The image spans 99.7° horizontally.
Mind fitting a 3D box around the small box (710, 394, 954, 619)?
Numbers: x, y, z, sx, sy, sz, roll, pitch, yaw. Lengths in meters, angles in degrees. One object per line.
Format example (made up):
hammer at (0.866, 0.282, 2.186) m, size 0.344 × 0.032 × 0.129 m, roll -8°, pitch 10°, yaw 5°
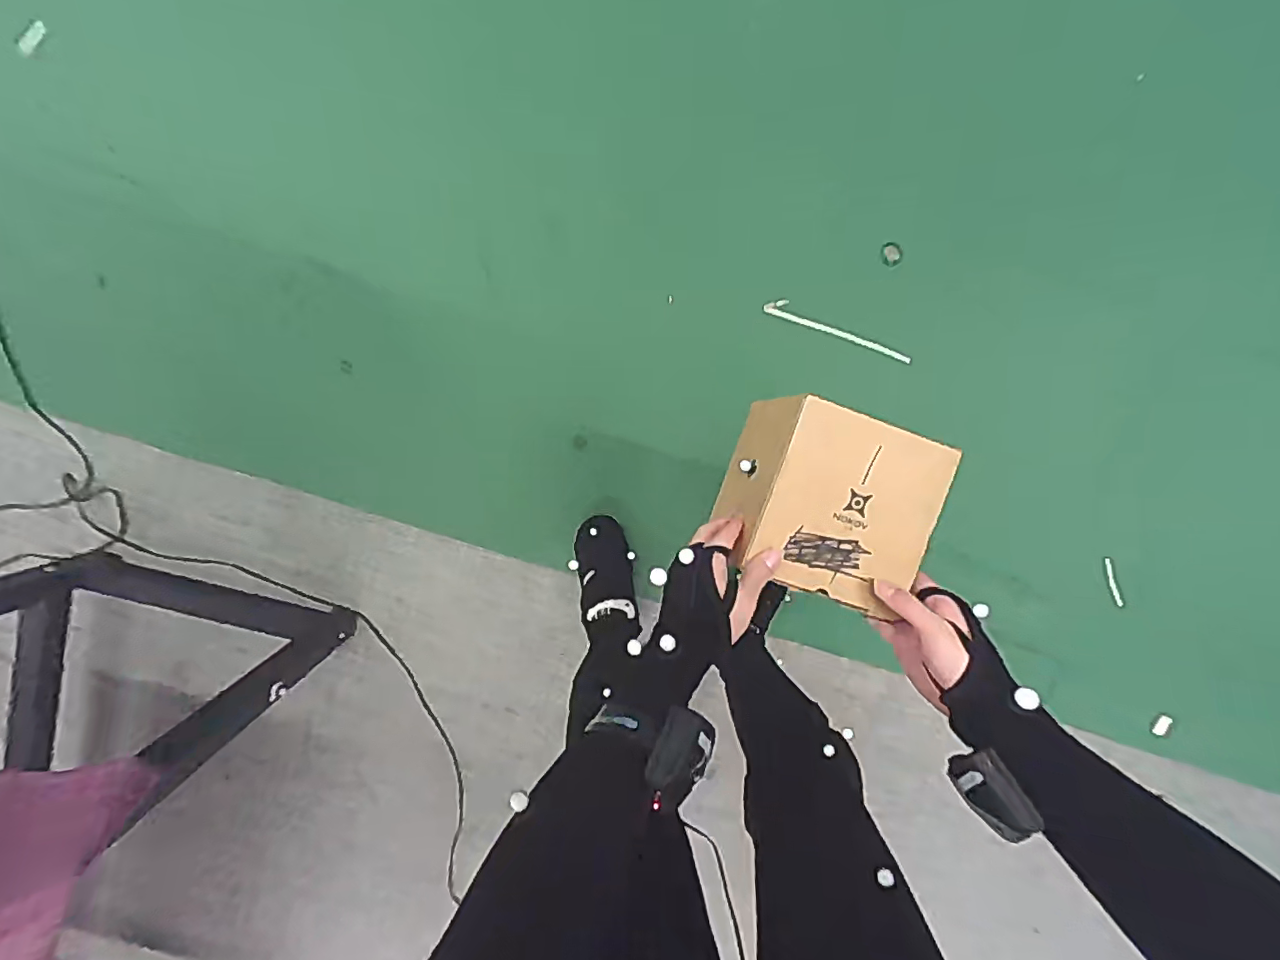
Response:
small box at (0.188, 0.021, 0.590) m, size 0.168 × 0.176 × 0.179 m, roll 20°, pitch 93°, yaw -7°
